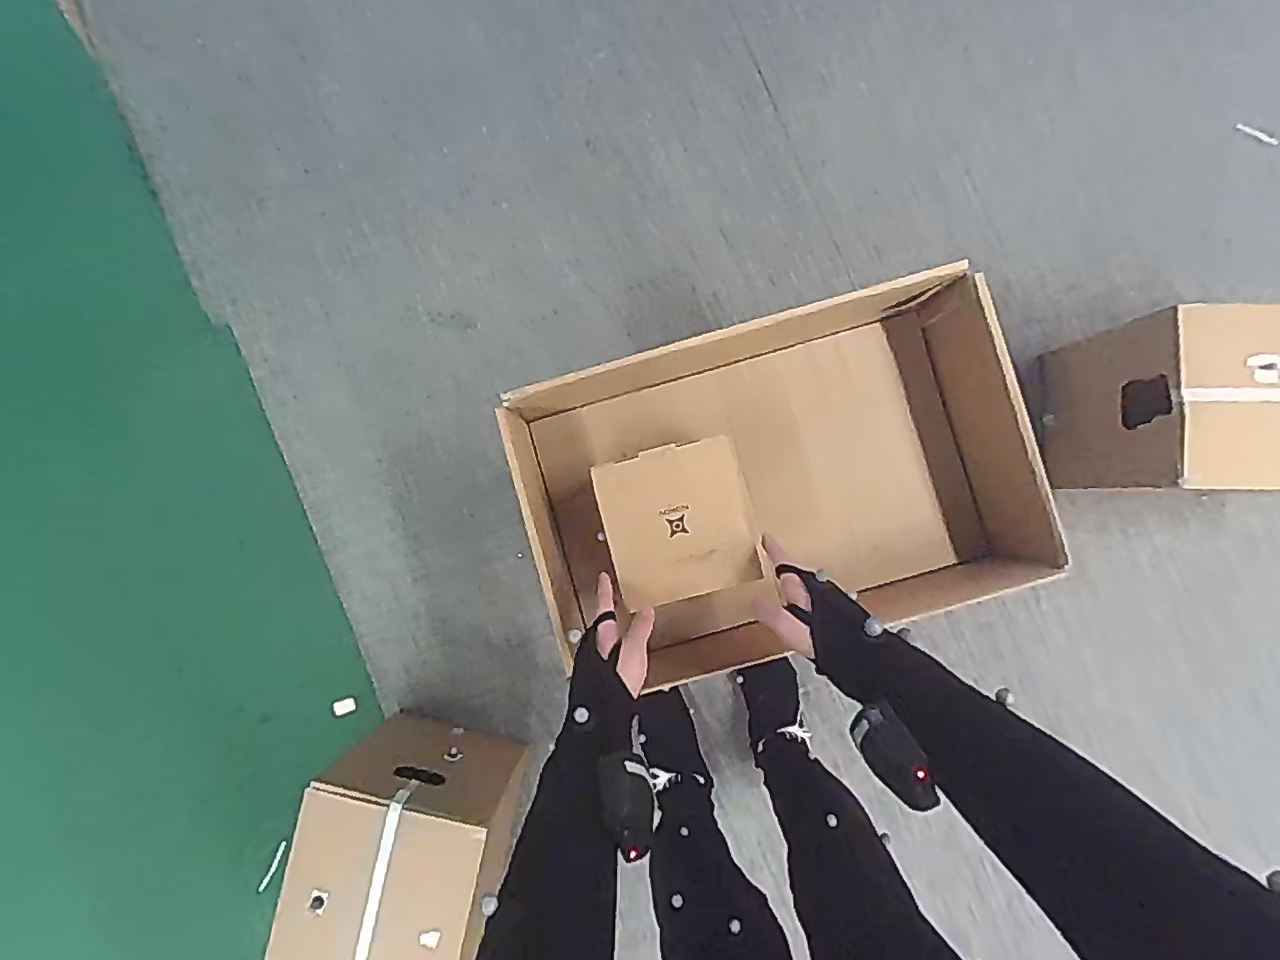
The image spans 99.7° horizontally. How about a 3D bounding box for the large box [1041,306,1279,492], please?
[{"bbox_3d":[1.084,-0.134,1.043,0.408,0.320,0.320,0,88,2],"label":"large box"}]
